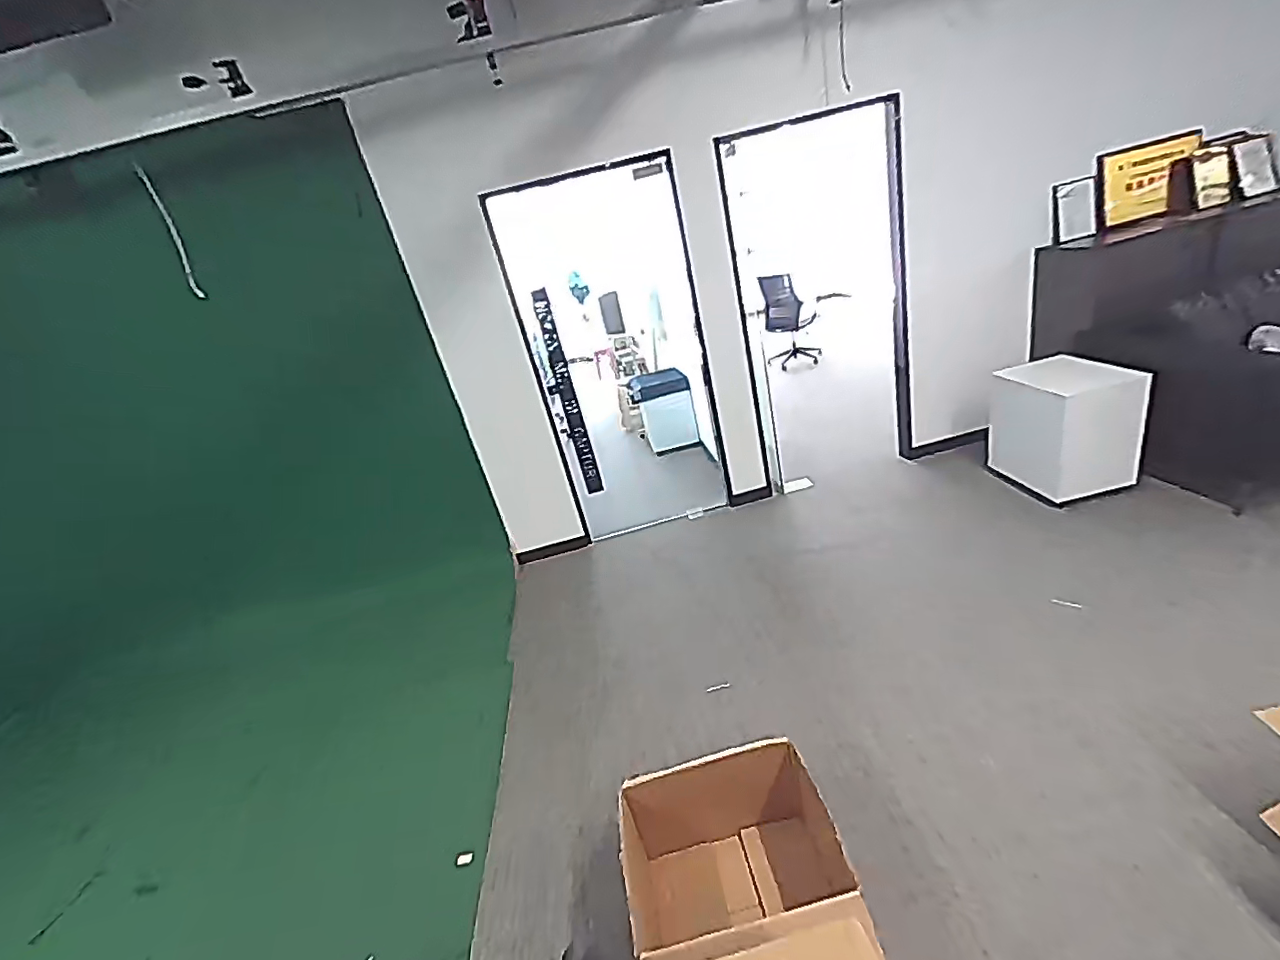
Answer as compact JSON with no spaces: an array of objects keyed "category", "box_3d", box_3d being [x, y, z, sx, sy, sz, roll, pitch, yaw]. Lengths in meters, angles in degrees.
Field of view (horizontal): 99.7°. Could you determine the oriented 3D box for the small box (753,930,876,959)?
[{"category":"small box","box_3d":[0.154,0.533,0.436,0.168,0.176,0.179,-13,10,-3]}]
